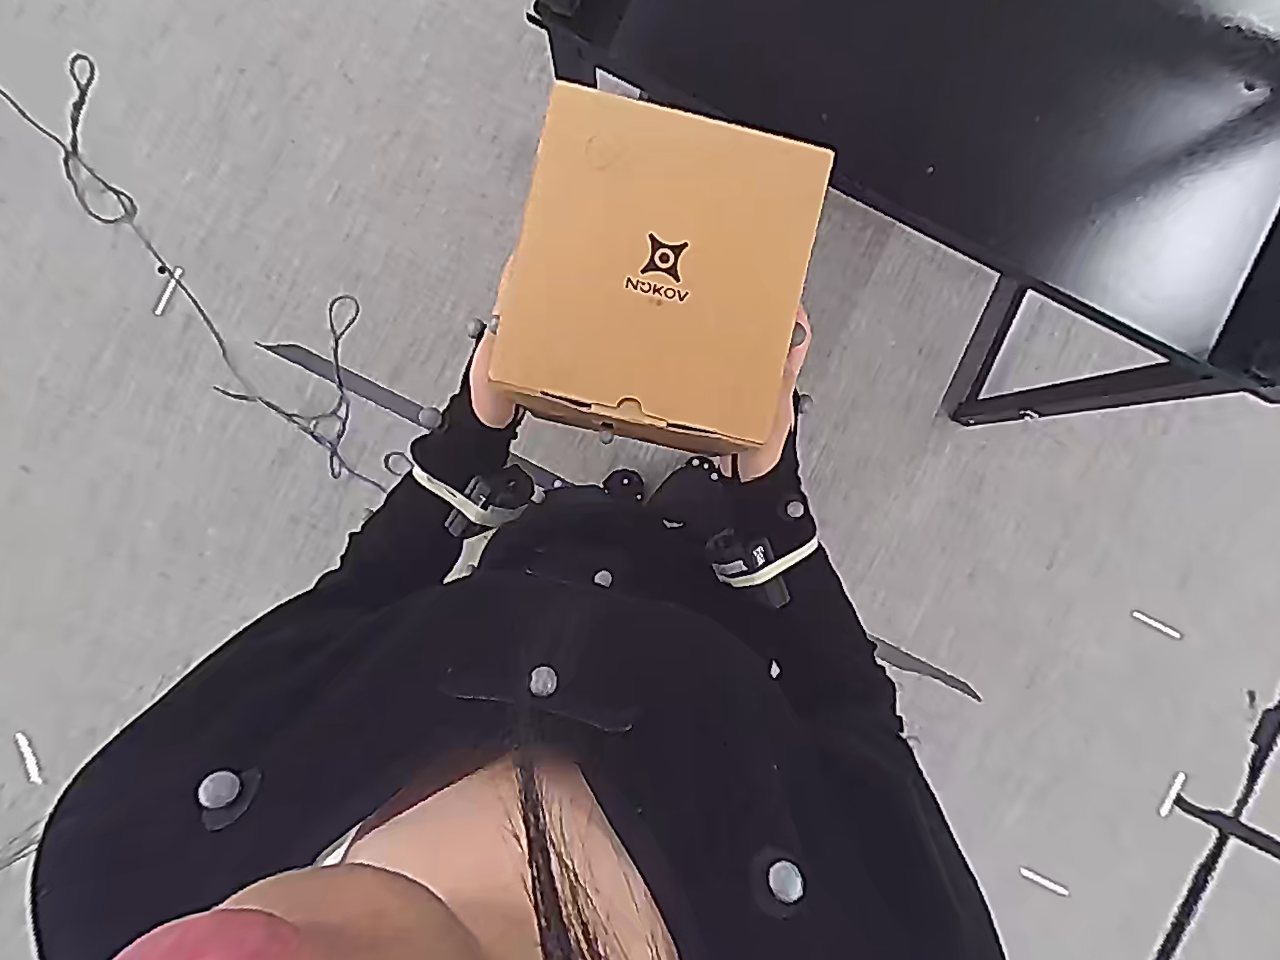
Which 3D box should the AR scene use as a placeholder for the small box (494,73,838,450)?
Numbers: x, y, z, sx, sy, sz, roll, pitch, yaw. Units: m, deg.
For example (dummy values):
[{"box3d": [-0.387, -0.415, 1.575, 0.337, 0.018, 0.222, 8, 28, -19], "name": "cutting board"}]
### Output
[{"box3d": [0.012, -0.123, 0.380, 0.168, 0.176, 0.179, 12, 91, -3], "name": "small box"}]
